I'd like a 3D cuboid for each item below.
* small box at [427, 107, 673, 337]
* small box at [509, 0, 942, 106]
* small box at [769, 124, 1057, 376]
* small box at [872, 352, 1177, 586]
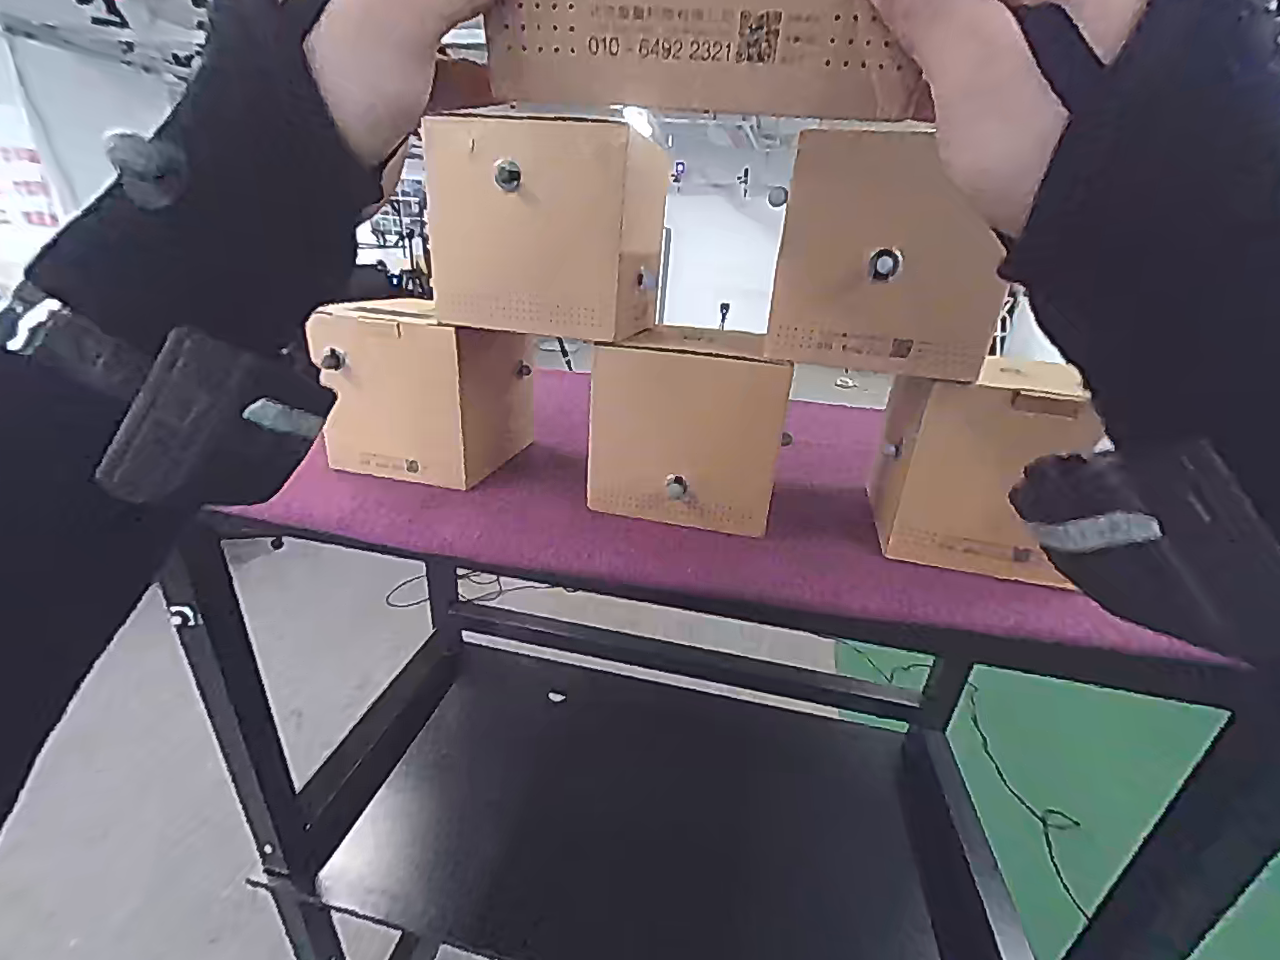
[{"bbox_3d":[-0.076,-0.236,0.518,0.179,0.176,0.168,10,24,11],"label":"small box"},{"bbox_3d":[0.039,-0.265,0.218,0.168,0.176,0.179,6,43,5],"label":"small box"},{"bbox_3d":[0.211,-0.194,0.470,0.168,0.176,0.179,11,24,13],"label":"small box"},{"bbox_3d":[0.328,-0.023,0.509,0.168,0.176,0.179,10,24,14],"label":"small box"}]
